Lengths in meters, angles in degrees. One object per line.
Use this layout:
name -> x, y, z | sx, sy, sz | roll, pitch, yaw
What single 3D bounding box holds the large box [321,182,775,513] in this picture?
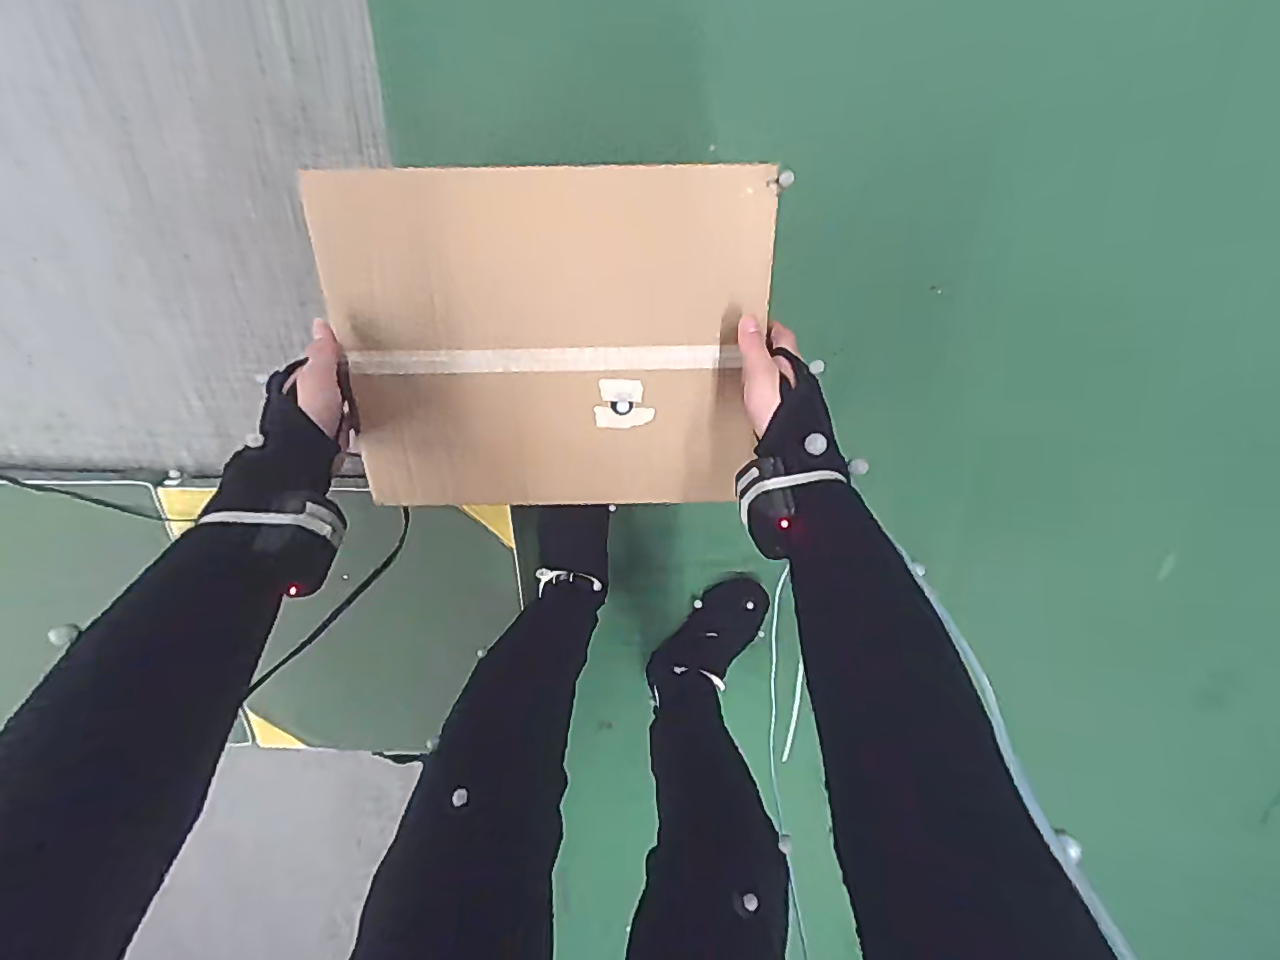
large box -> -0.081, -0.167, 0.662 | 0.408, 0.320, 0.320 | -1, 113, -1
